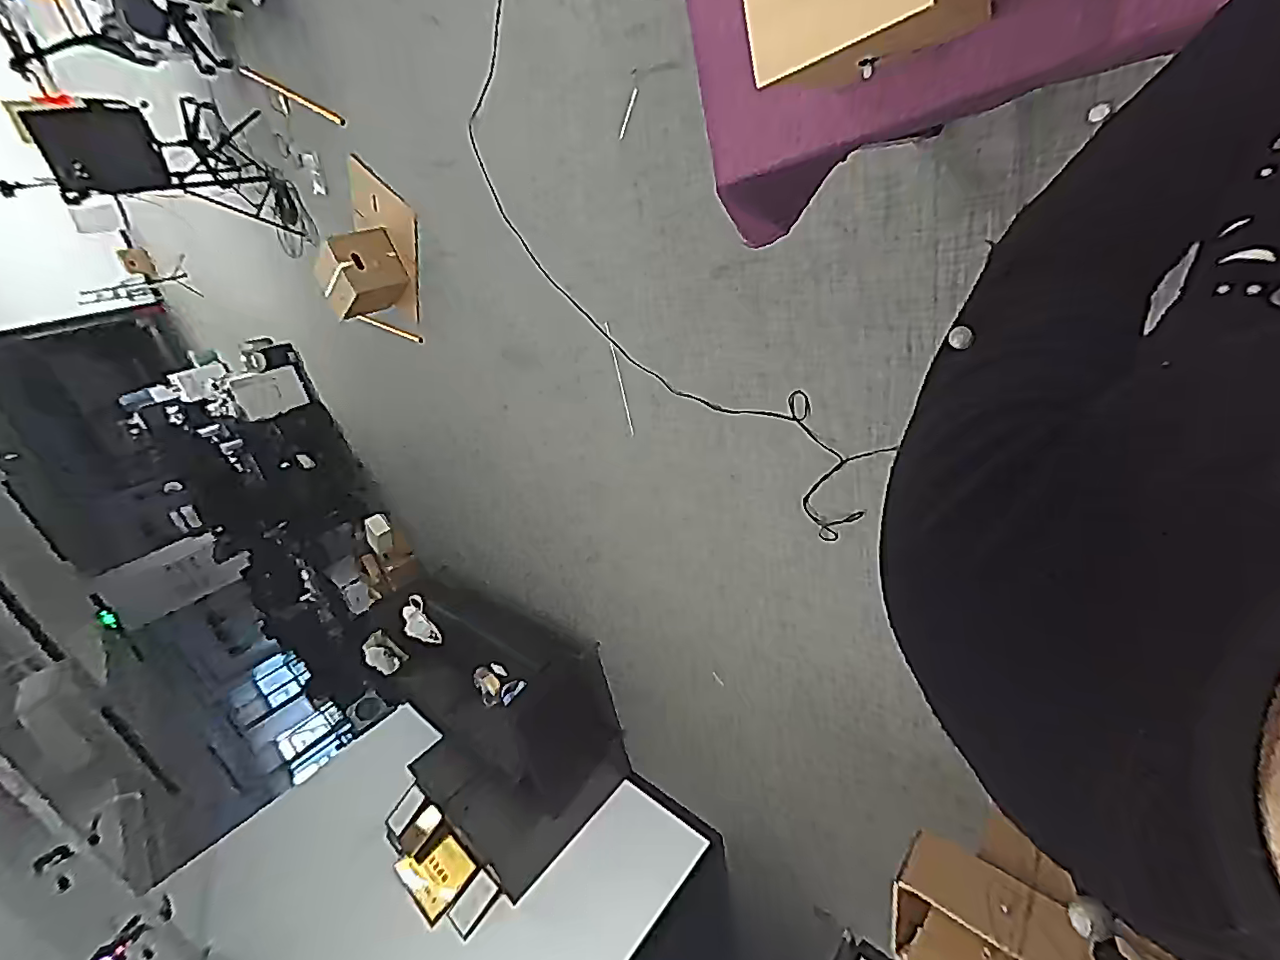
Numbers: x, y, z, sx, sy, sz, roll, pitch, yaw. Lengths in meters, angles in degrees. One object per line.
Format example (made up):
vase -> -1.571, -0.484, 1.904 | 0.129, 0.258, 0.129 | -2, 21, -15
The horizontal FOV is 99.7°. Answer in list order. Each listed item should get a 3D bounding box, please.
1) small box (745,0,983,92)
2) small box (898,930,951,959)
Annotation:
small box -> 0.210, -0.496, 0.508 | 0.168, 0.176, 0.179 | 8, 121, 44
small box -> 0.719, 1.278, 1.328 | 0.179, 0.176, 0.168 | 19, 128, 41
